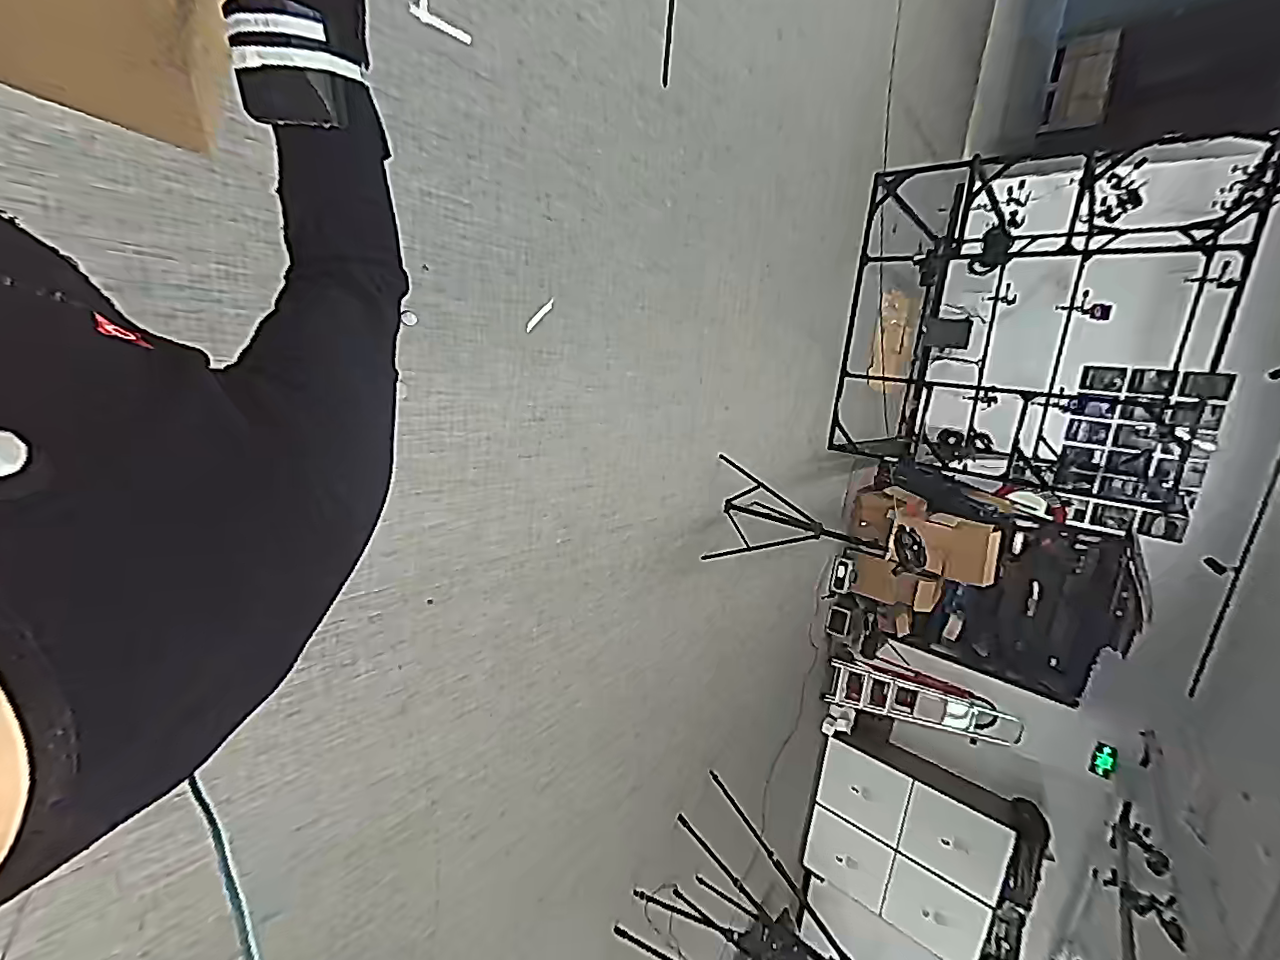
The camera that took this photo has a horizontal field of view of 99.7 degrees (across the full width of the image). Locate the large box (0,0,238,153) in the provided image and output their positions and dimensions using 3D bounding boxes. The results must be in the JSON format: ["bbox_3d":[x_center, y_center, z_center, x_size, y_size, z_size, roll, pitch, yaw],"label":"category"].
[{"bbox_3d":[-0.488,-0.480,0.311,0.408,0.320,0.320,9,93,-34],"label":"large box"}]
